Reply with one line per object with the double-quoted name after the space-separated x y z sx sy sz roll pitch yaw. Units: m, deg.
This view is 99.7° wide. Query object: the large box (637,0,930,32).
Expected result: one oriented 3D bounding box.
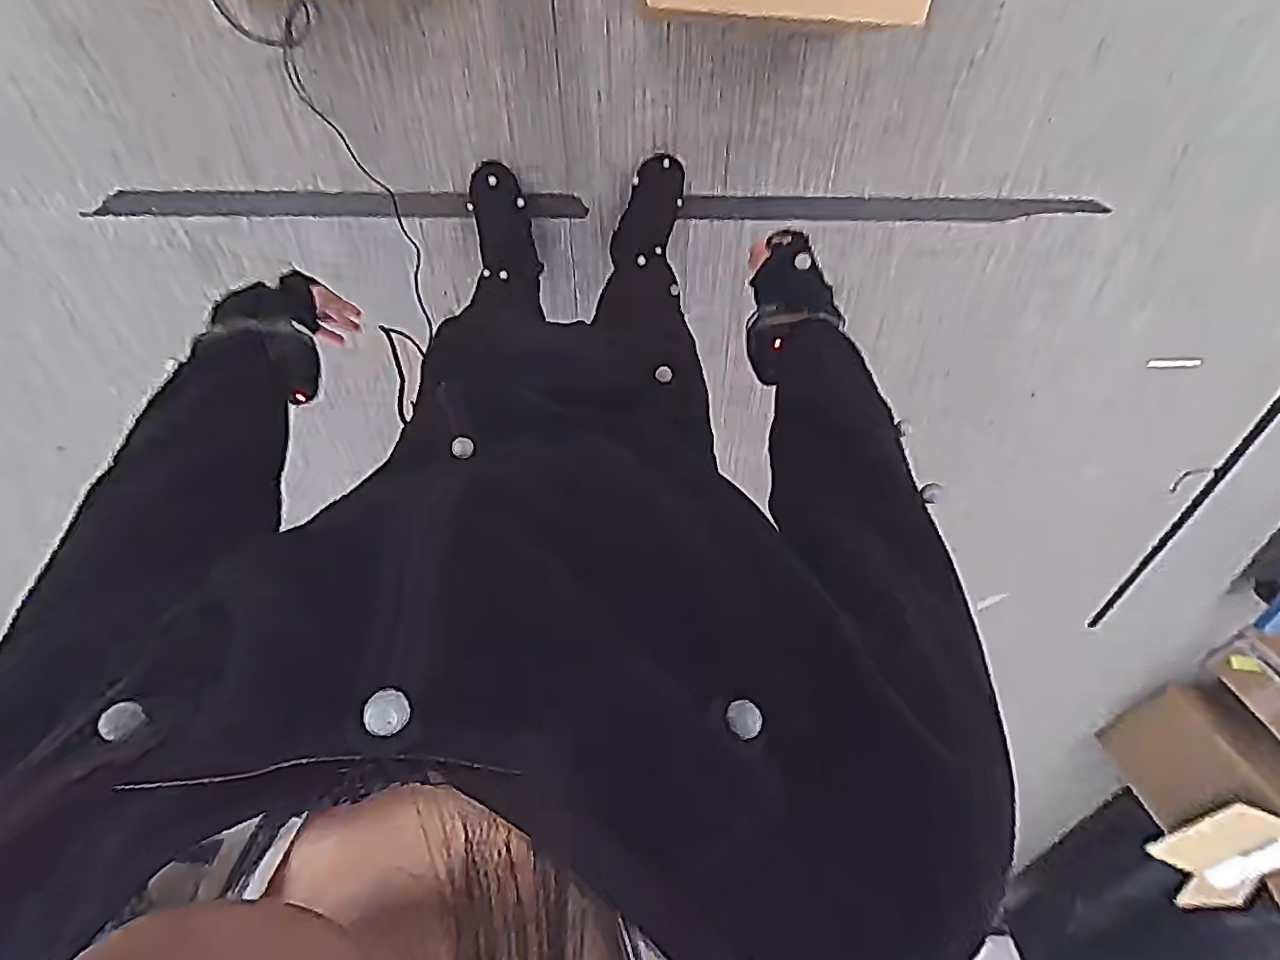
0.208 -0.872 0.791 0.408 0.320 0.320 0 129 -5 "large box"
